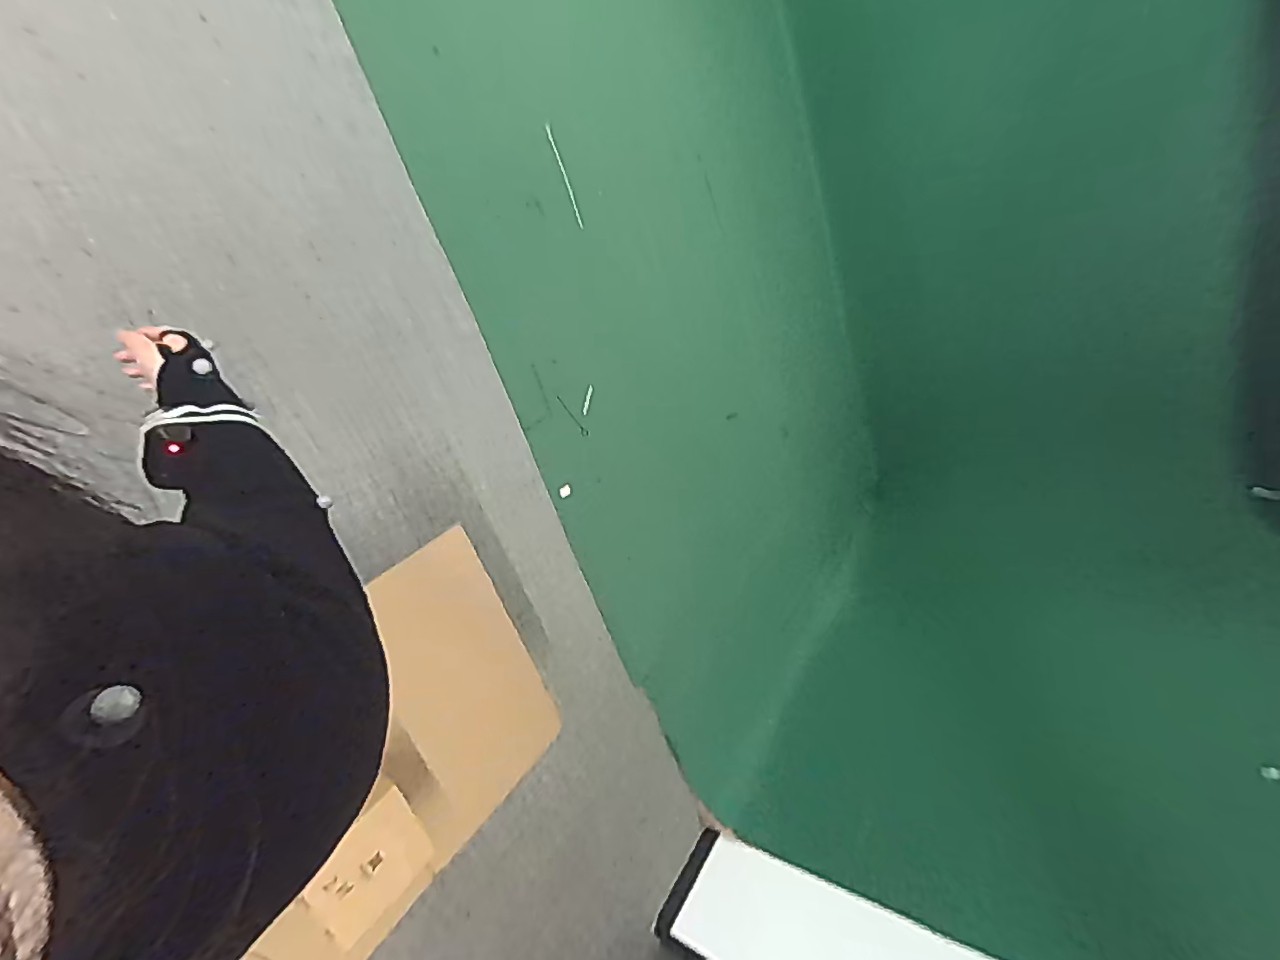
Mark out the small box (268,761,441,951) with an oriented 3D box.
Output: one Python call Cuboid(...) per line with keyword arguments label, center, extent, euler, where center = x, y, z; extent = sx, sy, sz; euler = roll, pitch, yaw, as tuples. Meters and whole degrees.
Cuboid(label="small box", center=(-0.481, 0.616, 0.914), extent=(0.179, 0.176, 0.168), euler=(-37, 115, -44))
